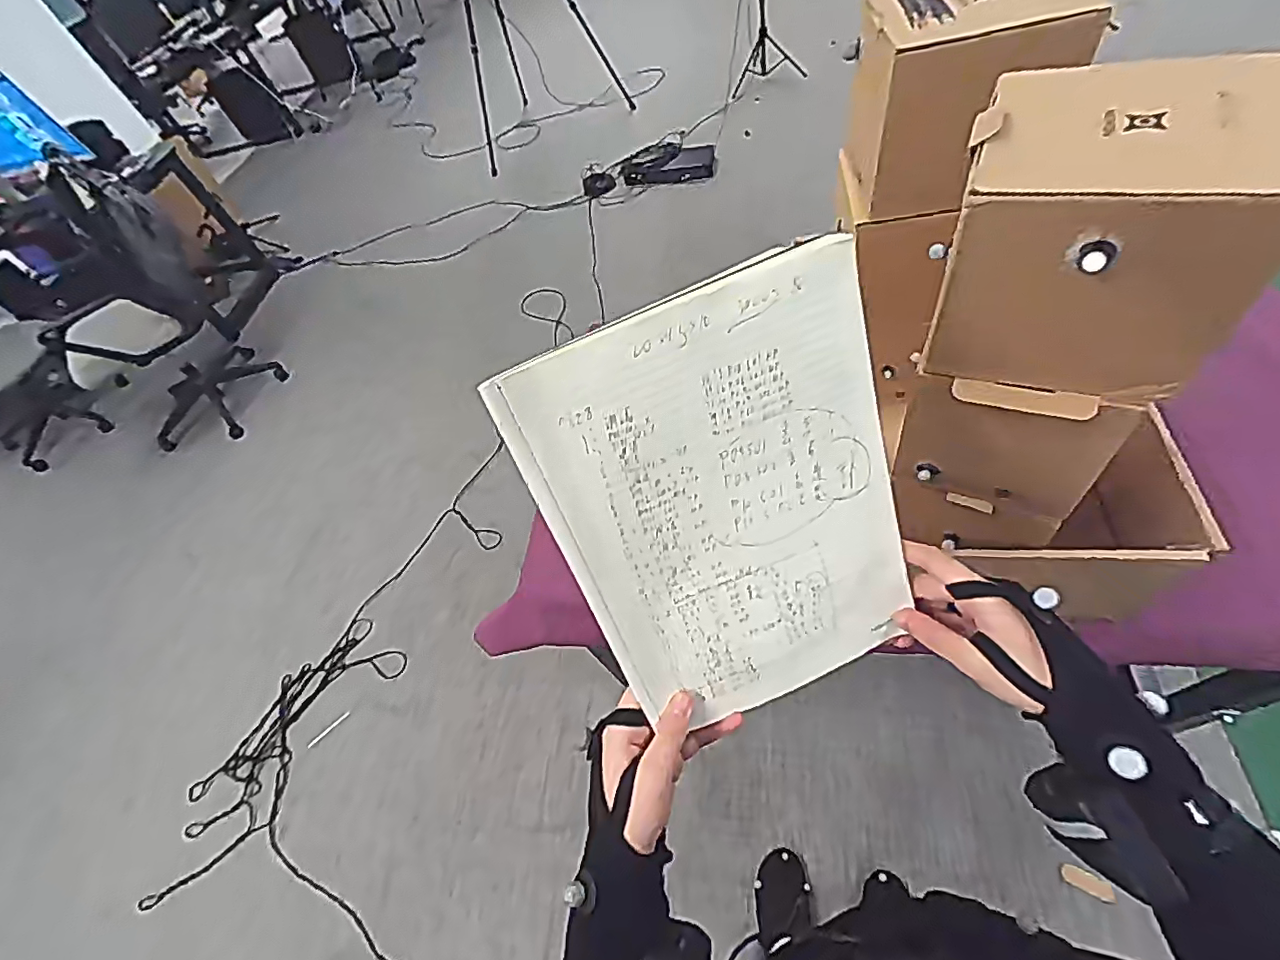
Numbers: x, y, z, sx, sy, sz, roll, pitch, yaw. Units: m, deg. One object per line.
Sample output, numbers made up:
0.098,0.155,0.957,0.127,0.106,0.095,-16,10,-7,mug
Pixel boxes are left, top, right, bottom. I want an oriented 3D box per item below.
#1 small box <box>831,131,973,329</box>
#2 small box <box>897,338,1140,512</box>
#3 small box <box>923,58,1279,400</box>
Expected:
0.352,-0.319,0.715,0.179,0.176,0.168,-3,57,13,small box
0.371,-0.093,0.546,0.168,0.176,0.179,17,61,27,small box
0.334,-0.182,0.415,0.179,0.176,0.168,15,61,25,small box
